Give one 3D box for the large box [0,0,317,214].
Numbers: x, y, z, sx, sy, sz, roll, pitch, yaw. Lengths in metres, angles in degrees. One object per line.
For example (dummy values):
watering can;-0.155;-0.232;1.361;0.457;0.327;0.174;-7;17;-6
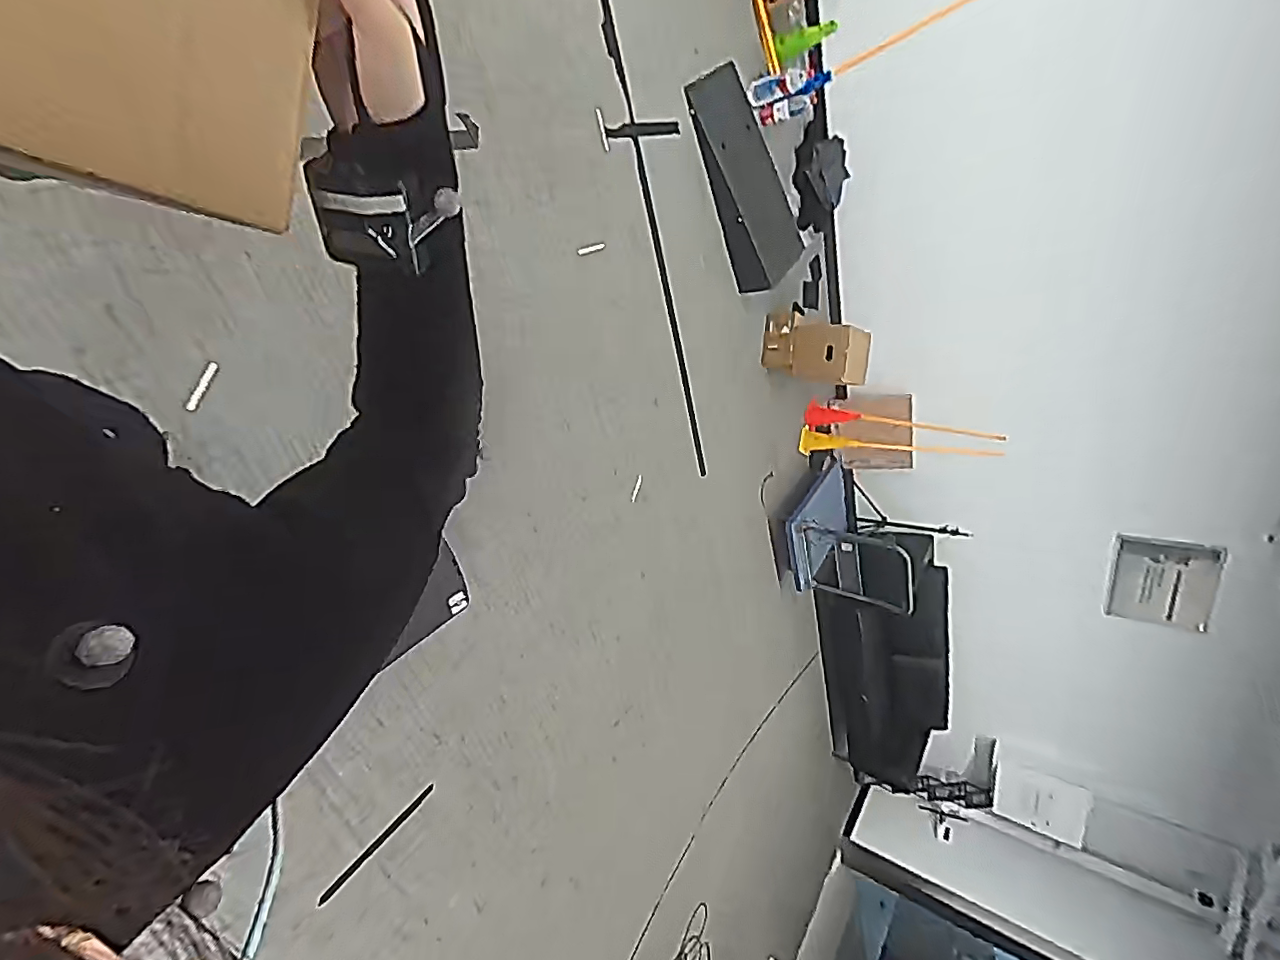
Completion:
large box;-0.359;-0.311;0.143;0.408;0.320;0.320;-6;114;-58
